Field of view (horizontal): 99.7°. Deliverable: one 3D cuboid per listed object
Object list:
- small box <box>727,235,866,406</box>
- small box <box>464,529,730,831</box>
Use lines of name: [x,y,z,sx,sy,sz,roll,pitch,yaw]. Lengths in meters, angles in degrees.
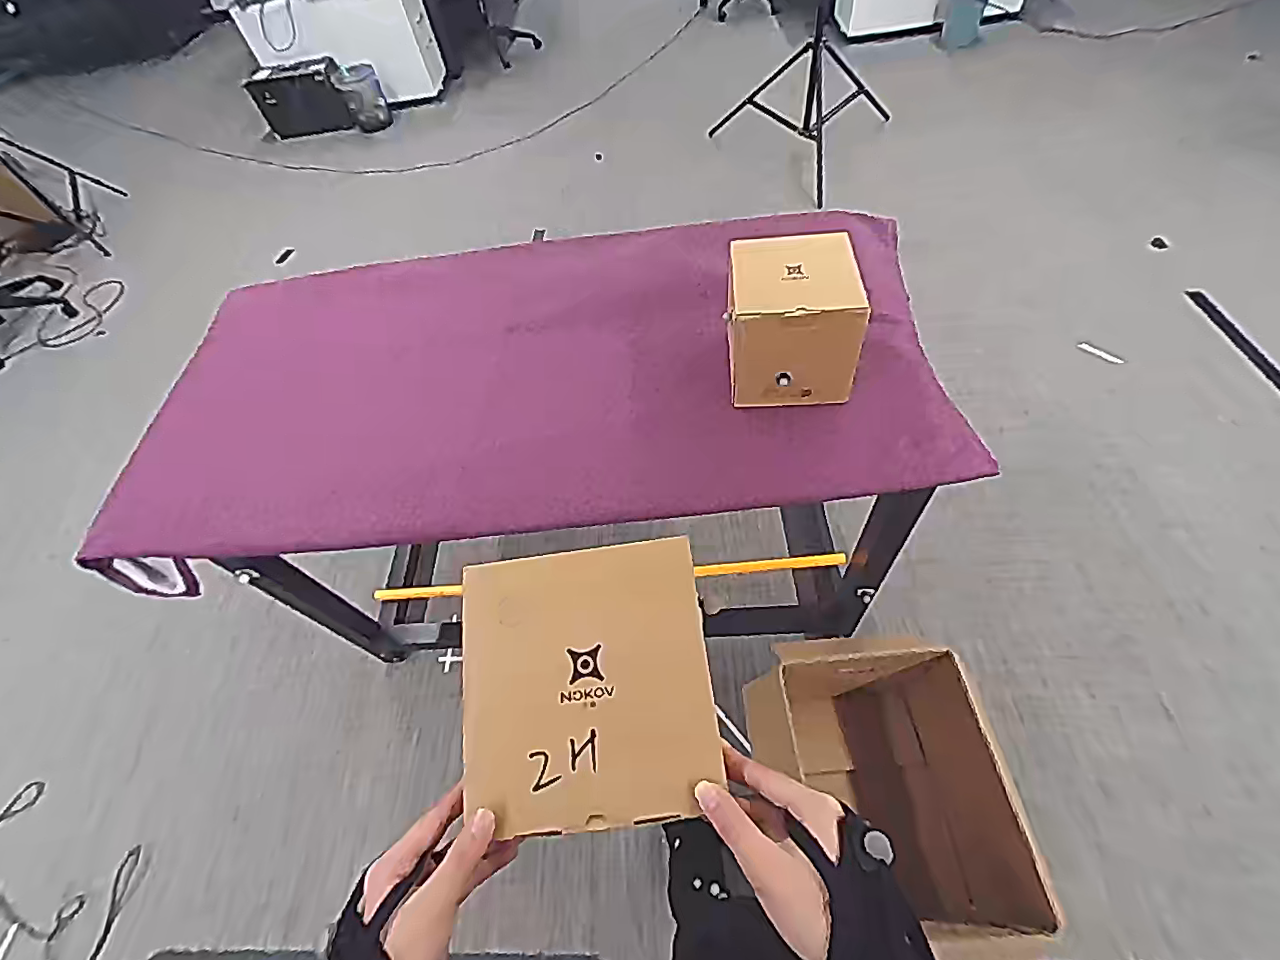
small box: [0.213,-0.228,0.788,0.168,0.176,0.179,-2,54,8]
small box: [-0.029,0.155,0.432,0.168,0.176,0.179,-9,68,3]
